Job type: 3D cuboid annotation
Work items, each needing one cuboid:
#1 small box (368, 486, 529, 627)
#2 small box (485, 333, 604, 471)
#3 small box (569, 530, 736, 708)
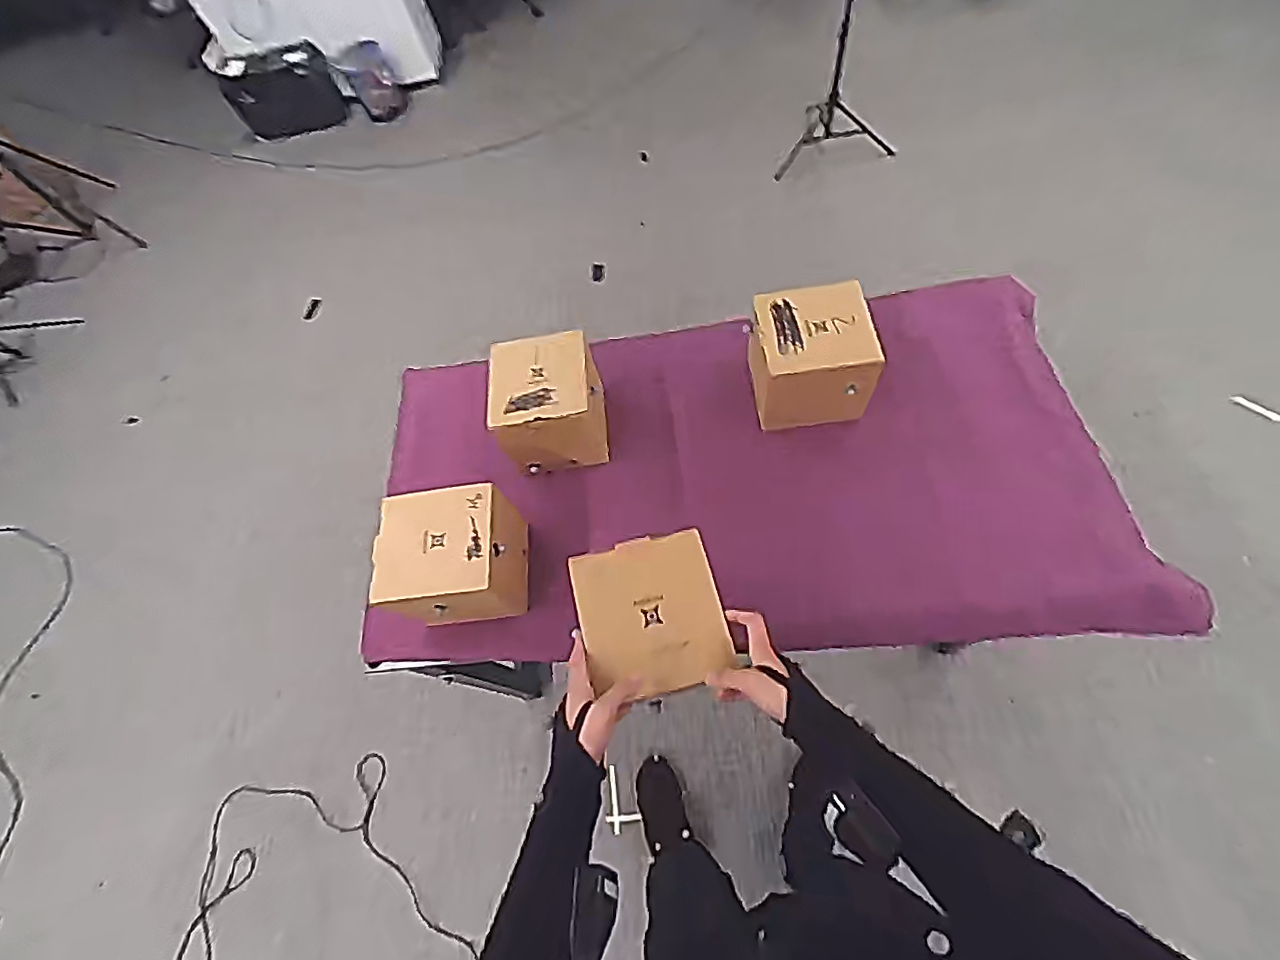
[{"bbox_3d":[-0.289,0.128,0.852,0.179,0.176,0.168,-9,63,5],"label":"small box"},{"bbox_3d":[-0.163,-0.128,0.962,0.168,0.176,0.179,-9,63,4],"label":"small box"},{"bbox_3d":[0.010,0.186,0.702,0.168,0.176,0.179,-13,67,-5],"label":"small box"}]
